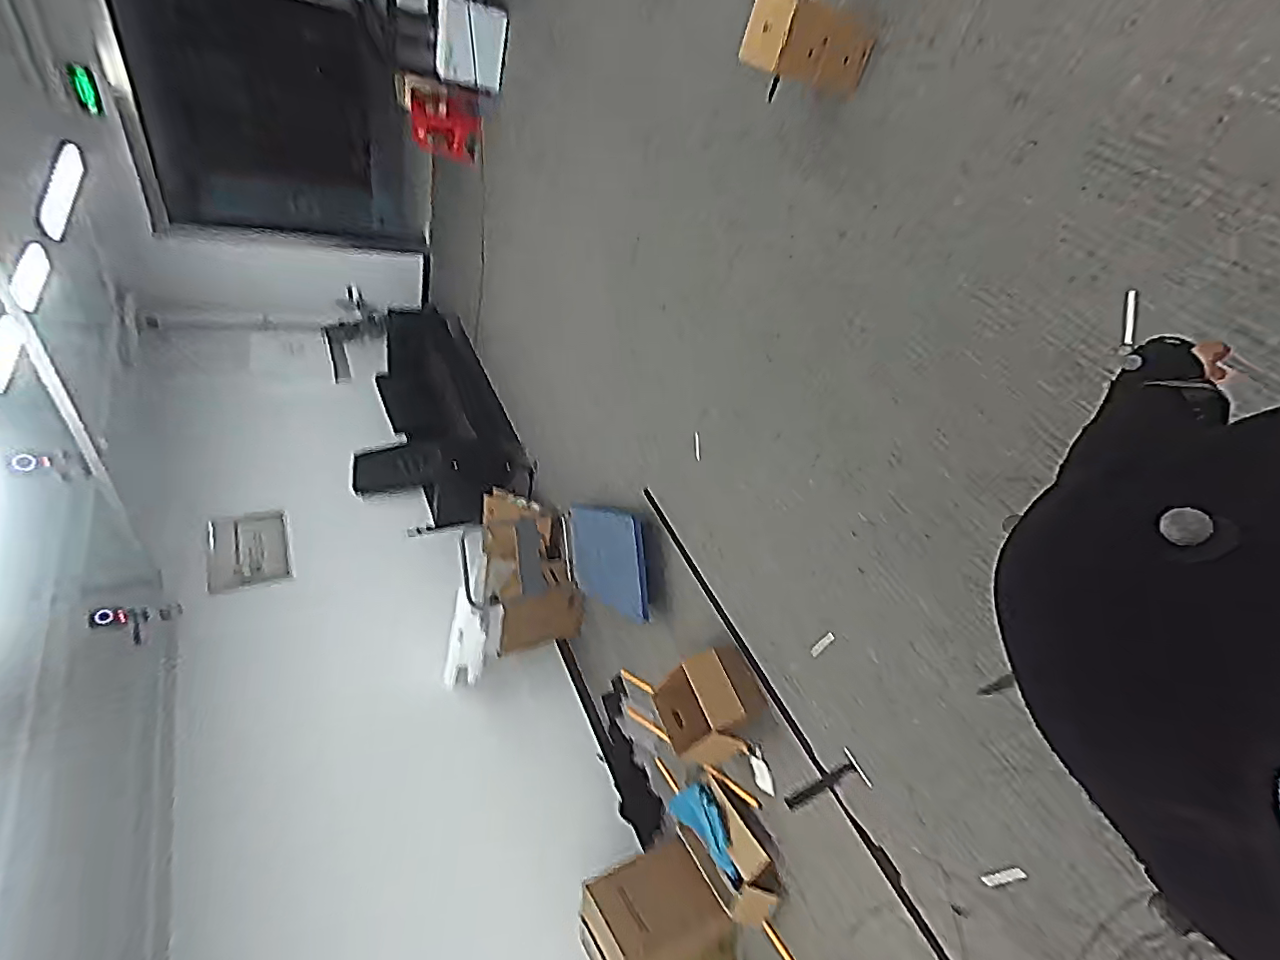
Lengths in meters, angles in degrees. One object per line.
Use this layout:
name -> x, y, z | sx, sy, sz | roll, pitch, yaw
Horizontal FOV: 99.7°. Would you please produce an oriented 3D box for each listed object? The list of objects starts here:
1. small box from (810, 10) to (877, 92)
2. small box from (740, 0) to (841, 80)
small box -> 0.557, -1.272, 1.593 | 0.179, 0.176, 0.168 | 55, 141, 37
small box -> 0.417, -1.249, 1.512 | 0.179, 0.176, 0.168 | 55, 141, 35
